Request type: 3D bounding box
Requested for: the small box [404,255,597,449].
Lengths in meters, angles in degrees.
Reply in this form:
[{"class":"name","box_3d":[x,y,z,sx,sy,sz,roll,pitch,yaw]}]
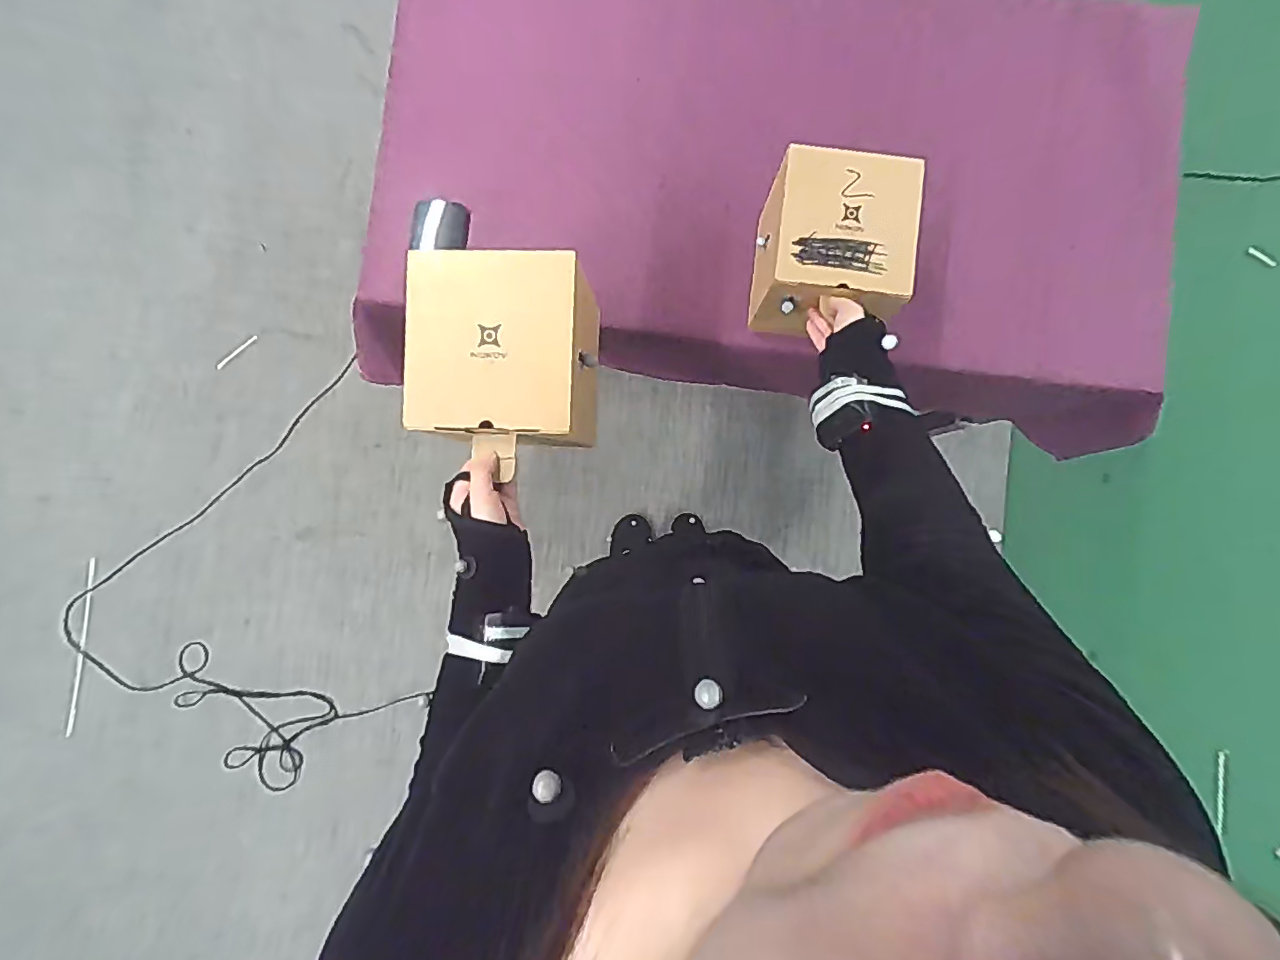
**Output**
[{"class":"small box","box_3d":[-0.142,-0.130,0.605,0.168,0.176,0.179,2,90,3]}]
